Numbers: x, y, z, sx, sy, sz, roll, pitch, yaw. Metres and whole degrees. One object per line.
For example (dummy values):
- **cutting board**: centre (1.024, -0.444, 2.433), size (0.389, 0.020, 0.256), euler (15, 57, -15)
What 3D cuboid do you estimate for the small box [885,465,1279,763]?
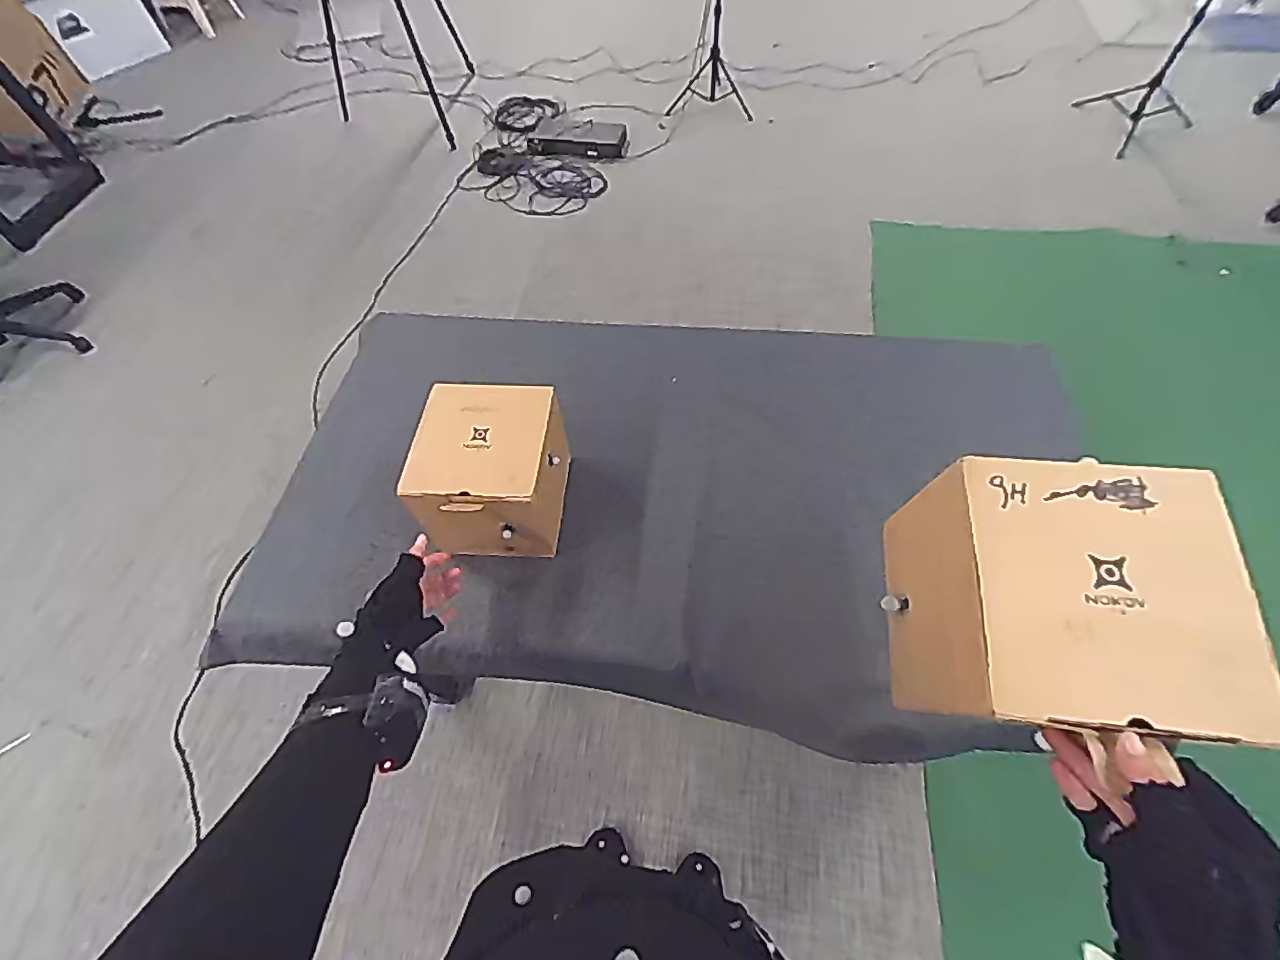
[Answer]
- **small box**: centre (0.306, 0.104, 0.422), size (0.168, 0.176, 0.179), euler (4, 69, 6)

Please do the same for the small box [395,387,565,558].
- **small box**: centre (-0.201, -0.005, 0.740), size (0.168, 0.176, 0.179), euler (2, 56, 2)
